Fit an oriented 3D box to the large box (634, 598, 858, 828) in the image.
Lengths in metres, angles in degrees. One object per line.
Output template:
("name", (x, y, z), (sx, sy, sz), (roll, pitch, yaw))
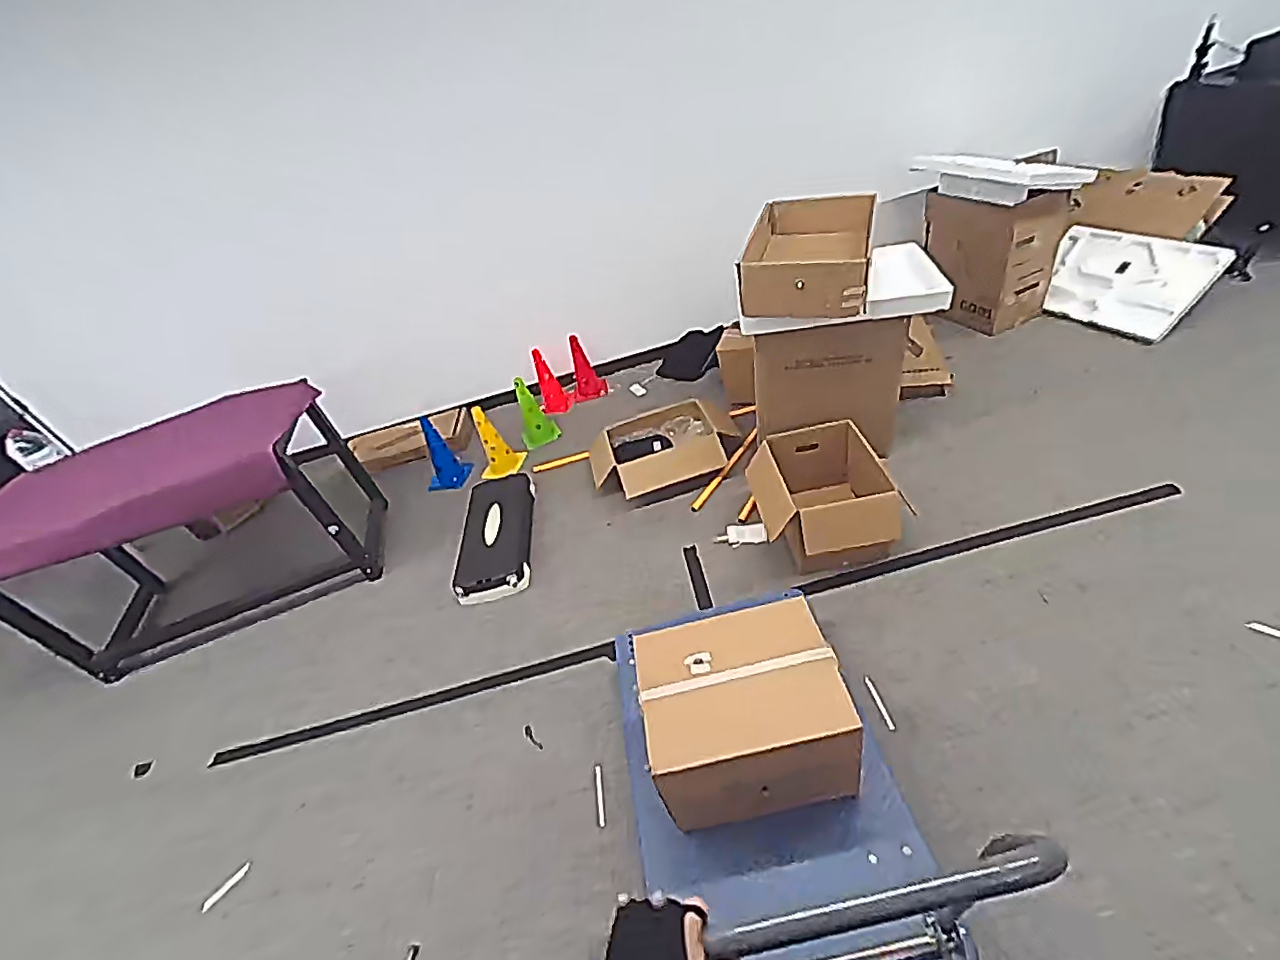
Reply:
("large box", (0.232, 0.526, 1.221), (0.408, 0.320, 0.320), (-16, 37, 3))
